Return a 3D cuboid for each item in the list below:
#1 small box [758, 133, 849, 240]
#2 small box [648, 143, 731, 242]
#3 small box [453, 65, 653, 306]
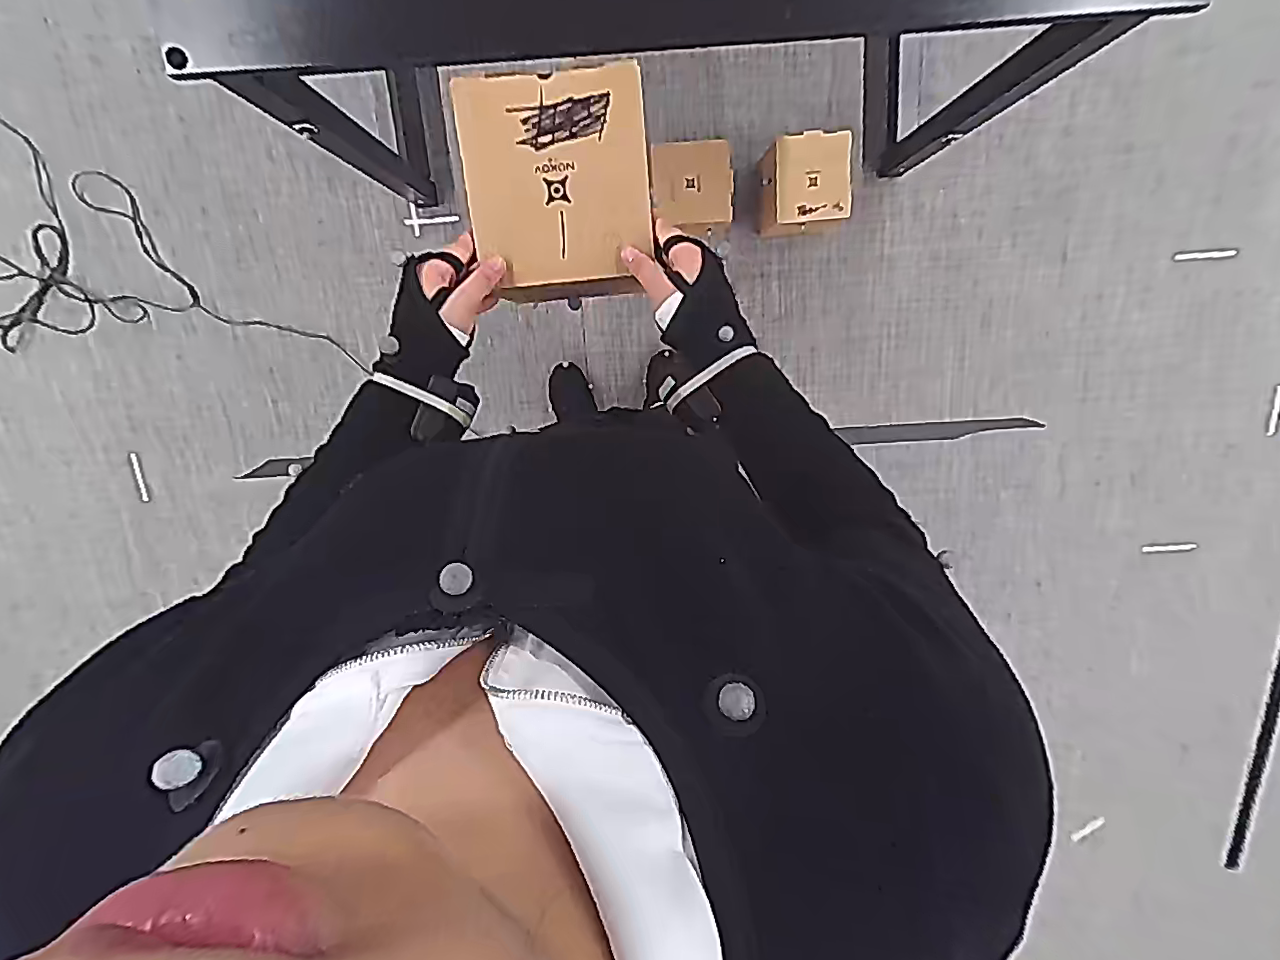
[{"bbox_3d":[0.374,-0.674,1.257,0.168,0.176,0.179,-4,104,1],"label":"small box"},{"bbox_3d":[0.111,-0.662,1.260,0.179,0.176,0.168,-4,103,2],"label":"small box"},{"bbox_3d":[-0.078,-0.287,0.565,0.168,0.176,0.179,-6,103,0],"label":"small box"}]
